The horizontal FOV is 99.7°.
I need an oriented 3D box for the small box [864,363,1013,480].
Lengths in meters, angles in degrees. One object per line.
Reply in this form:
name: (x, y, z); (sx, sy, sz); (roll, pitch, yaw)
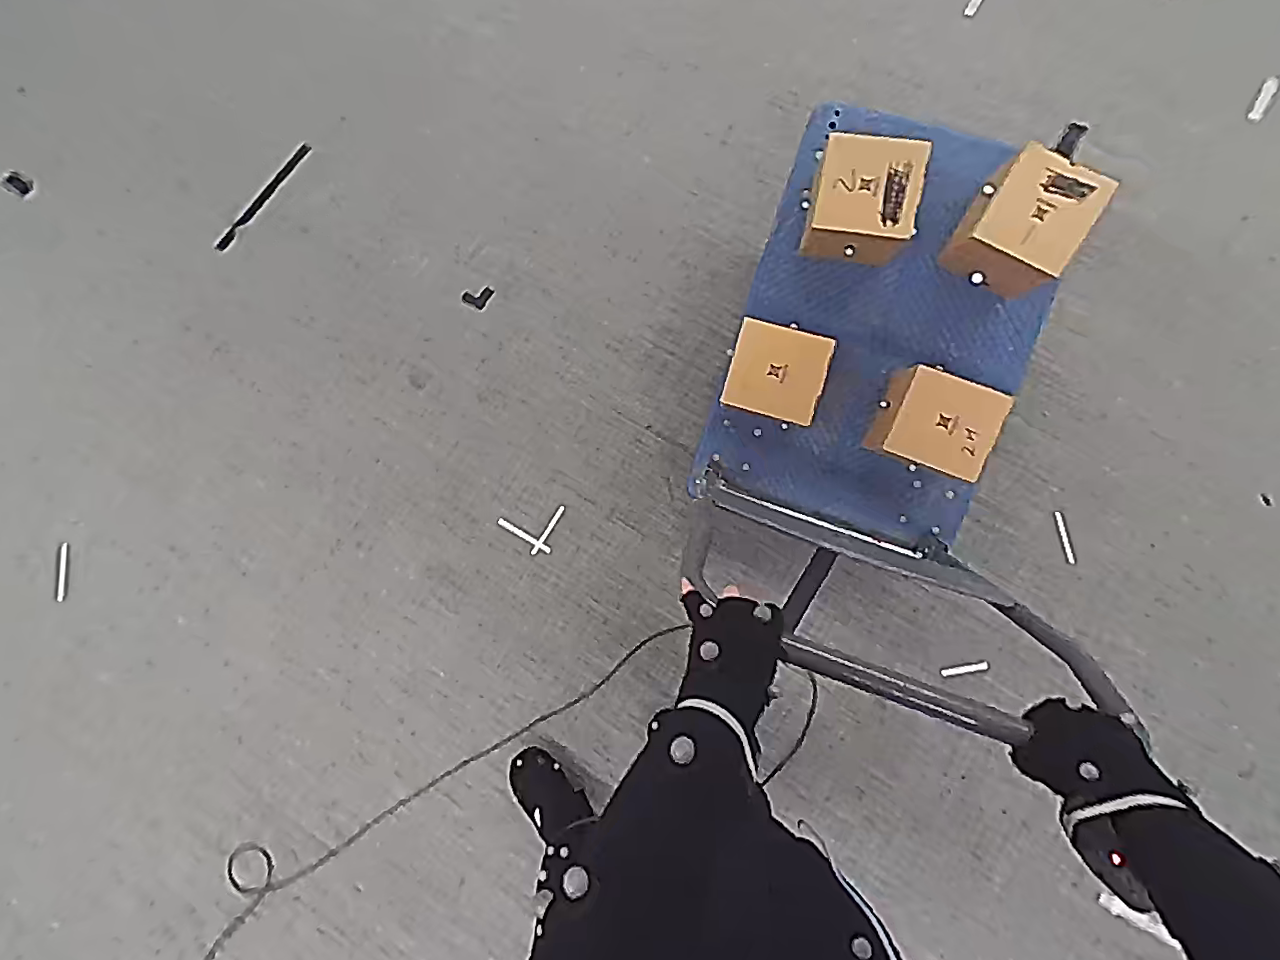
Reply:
small box: (0.562, -0.111, 1.049); (0.179, 0.176, 0.168); (22, 98, 6)

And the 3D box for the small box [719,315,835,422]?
small box: (0.264, -0.214, 1.084); (0.179, 0.176, 0.168); (16, 97, 5)

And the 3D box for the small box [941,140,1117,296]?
small box: (0.697, -0.469, 0.997); (0.168, 0.176, 0.179); (30, 100, 5)
